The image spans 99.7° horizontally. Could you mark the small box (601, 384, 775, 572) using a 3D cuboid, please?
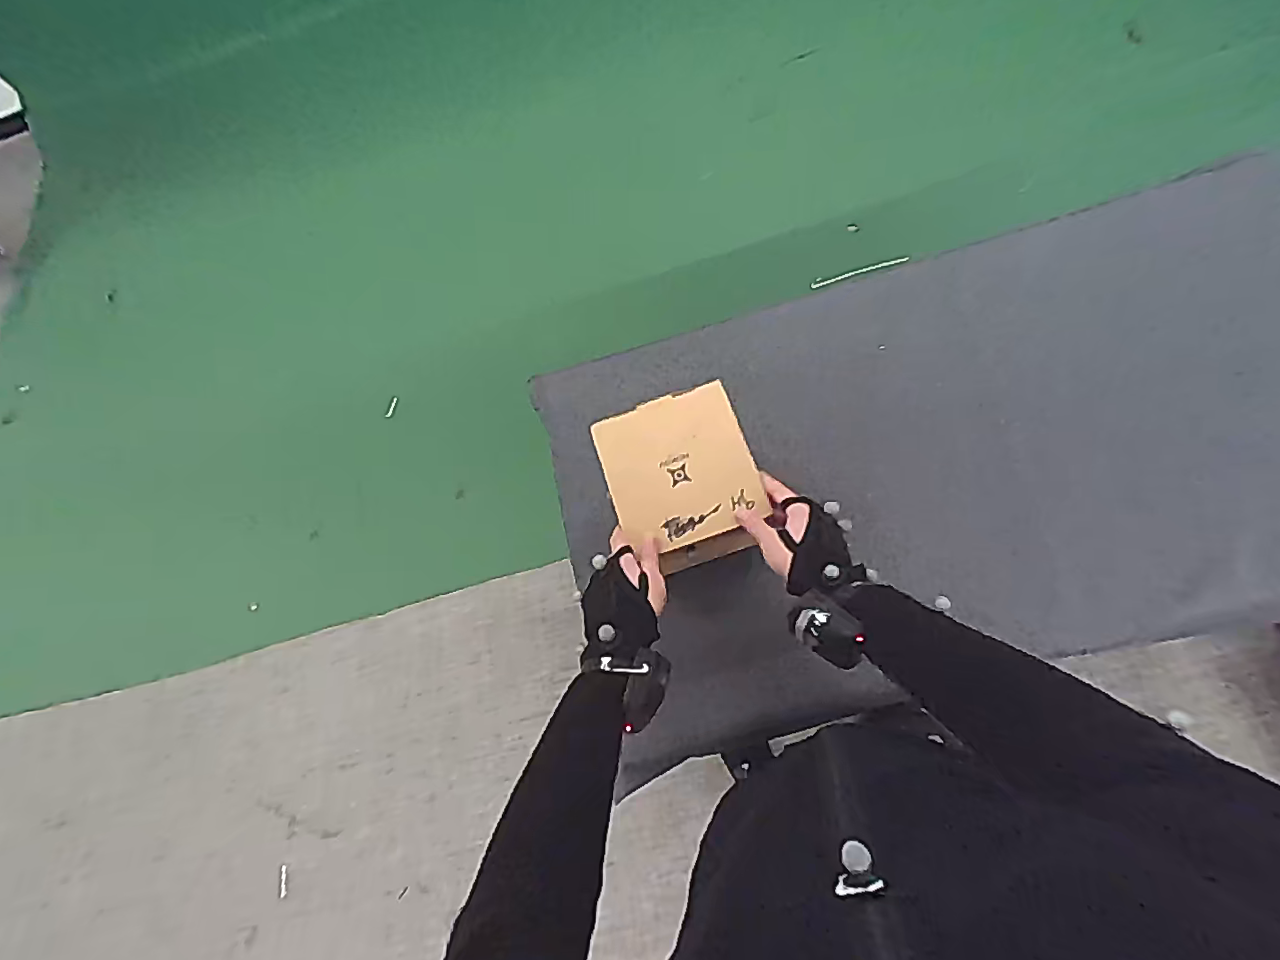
[{"bbox_3d":[0.063,0.008,0.704,0.168,0.176,0.179,-18,73,5],"label":"small box"}]
